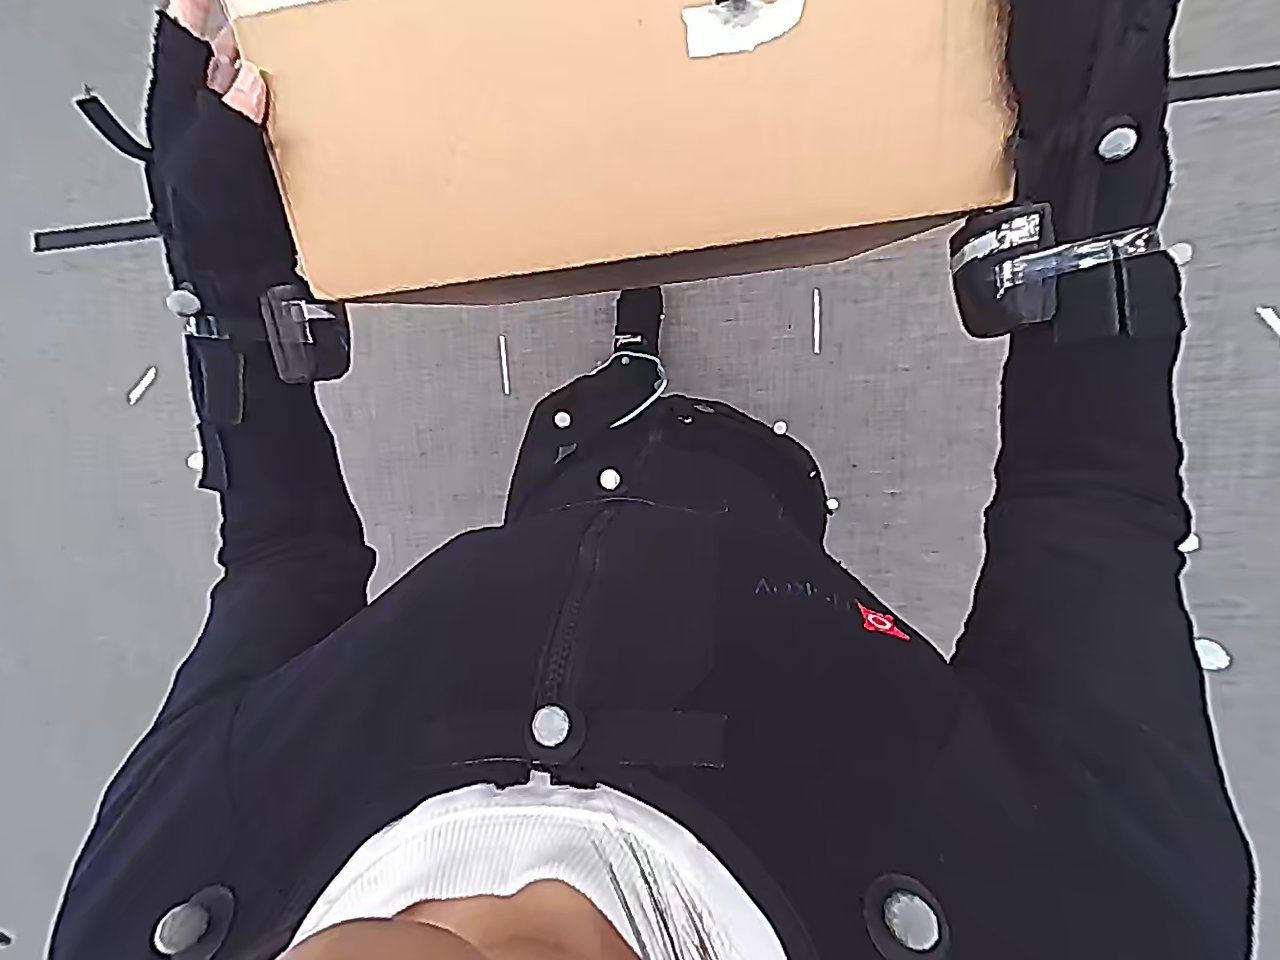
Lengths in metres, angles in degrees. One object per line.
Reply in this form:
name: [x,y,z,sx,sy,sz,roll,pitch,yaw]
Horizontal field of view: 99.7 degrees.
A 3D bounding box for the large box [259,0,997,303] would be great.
large box: [-0.010,-0.329,0.425,0.408,0.320,0.320,-6,108,6]
